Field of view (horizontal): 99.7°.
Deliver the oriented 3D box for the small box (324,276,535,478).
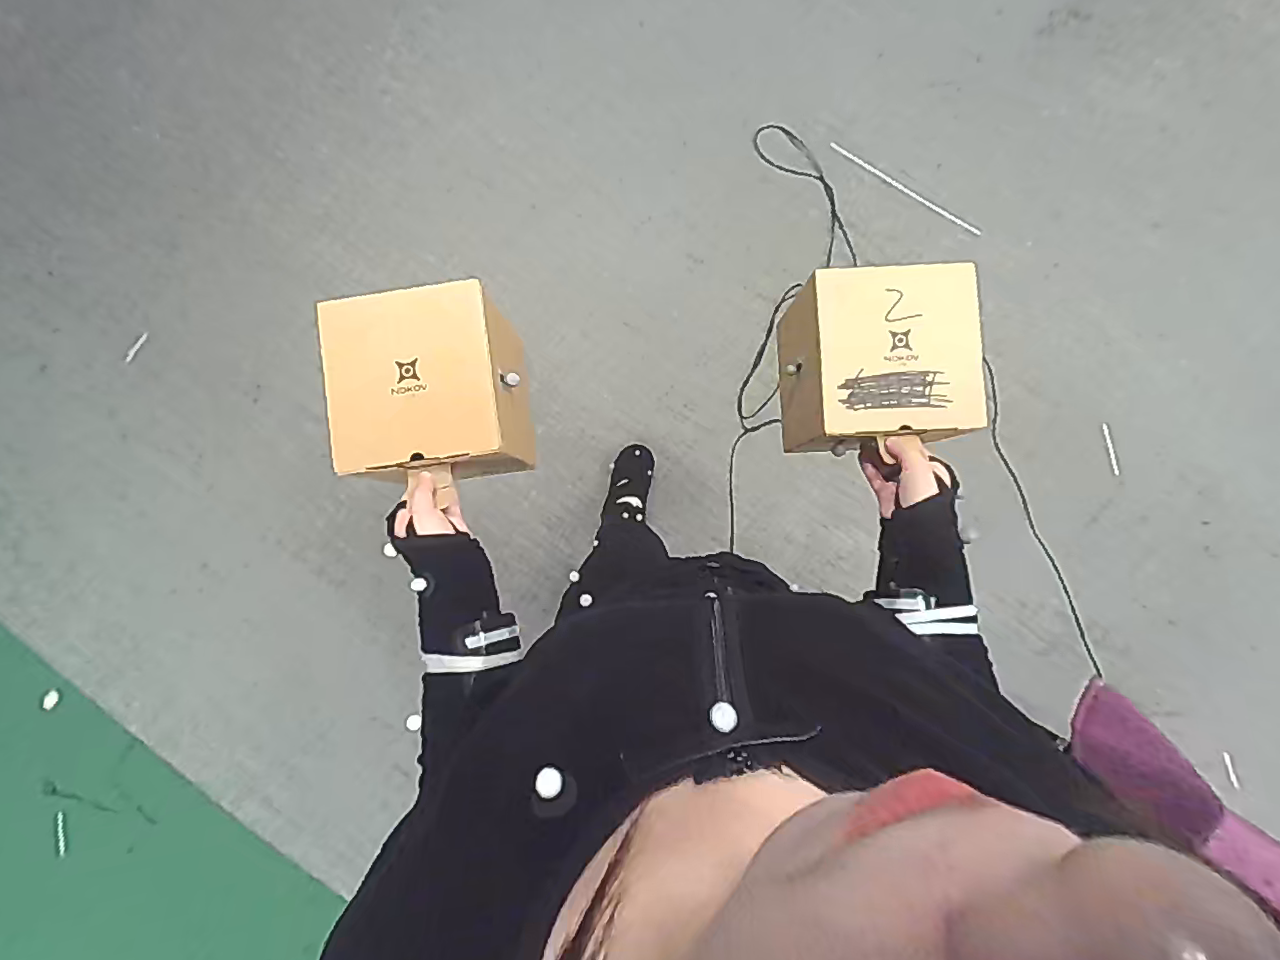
[{"bbox_3d":[-0.221,-0.102,0.607,0.168,0.176,0.179,-7,87,1],"label":"small box"}]
